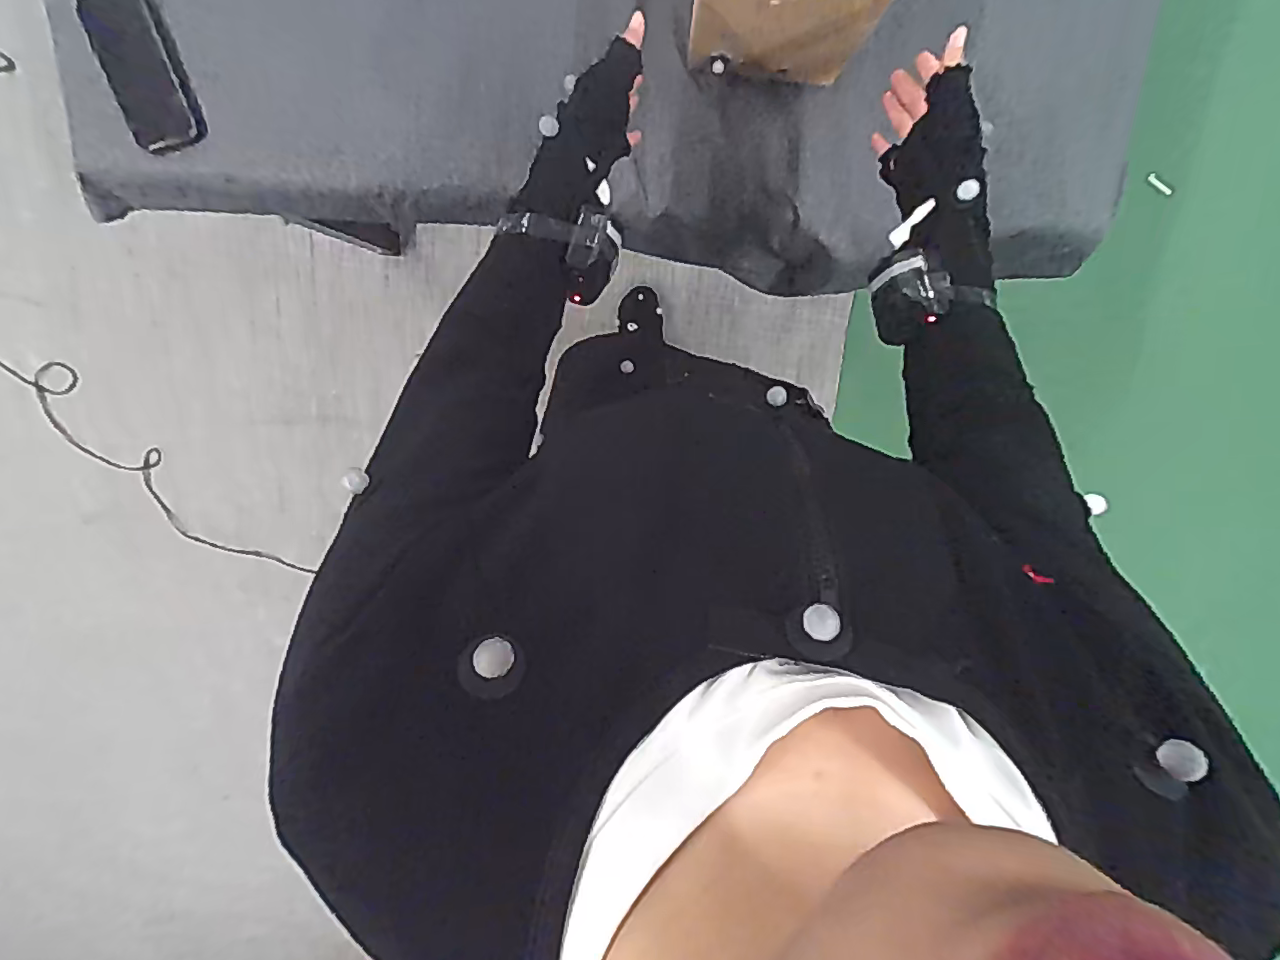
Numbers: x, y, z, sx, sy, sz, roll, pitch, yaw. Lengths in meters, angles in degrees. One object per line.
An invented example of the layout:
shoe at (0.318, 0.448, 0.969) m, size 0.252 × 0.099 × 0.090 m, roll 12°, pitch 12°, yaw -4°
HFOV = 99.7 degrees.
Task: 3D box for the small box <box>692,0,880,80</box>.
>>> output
small box at (0.145, -0.522, 0.514) m, size 0.168 × 0.176 × 0.179 m, roll 5°, pitch 102°, yaw -3°
